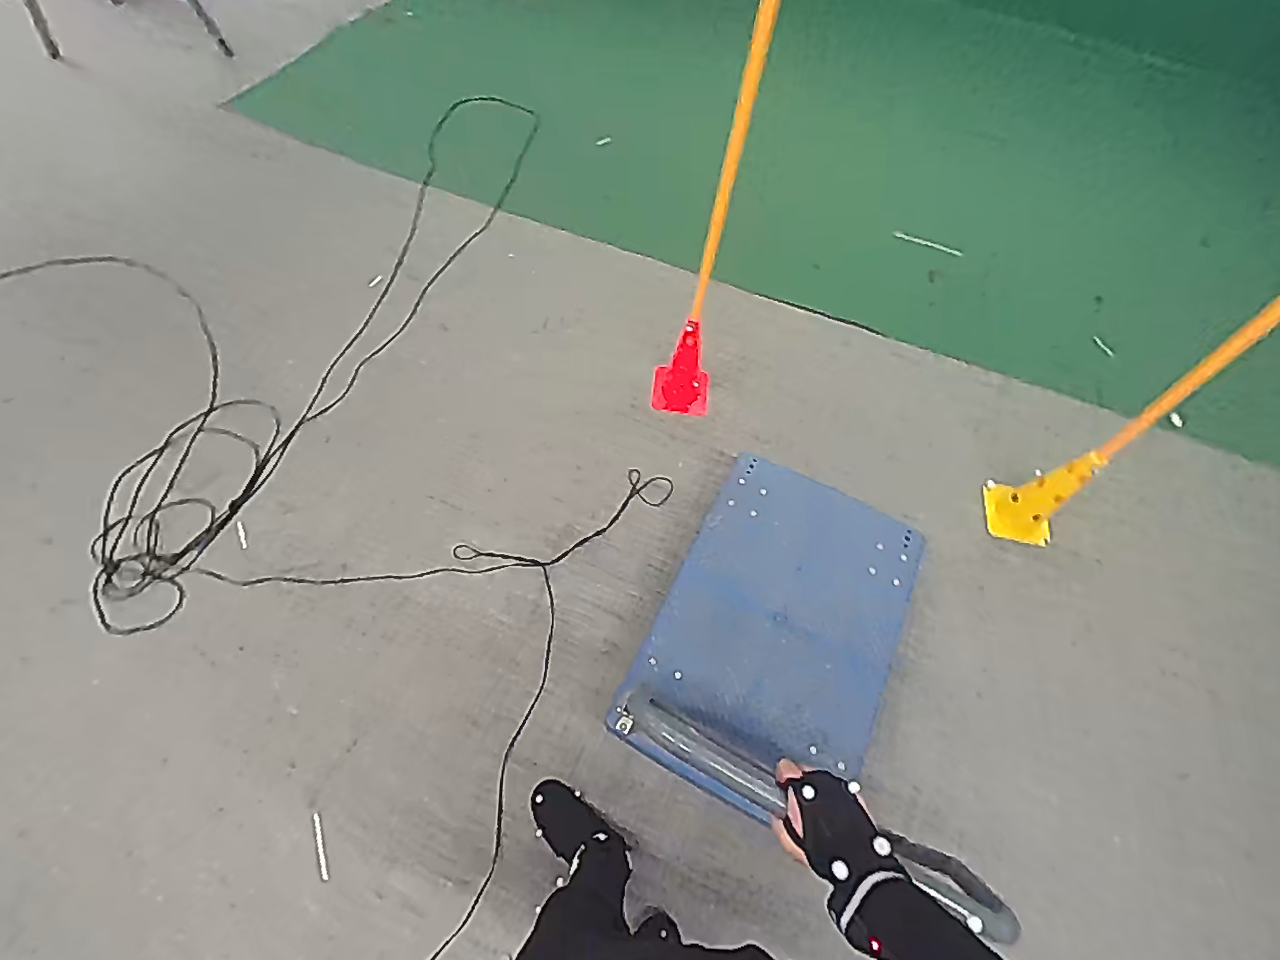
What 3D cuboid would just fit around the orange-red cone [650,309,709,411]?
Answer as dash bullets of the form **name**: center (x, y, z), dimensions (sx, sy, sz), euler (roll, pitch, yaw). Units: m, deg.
- **orange-red cone**: center (0.149, -0.418, 1.791), dimensions (0.199, 0.360, 0.198), euler (8, 61, 2)
